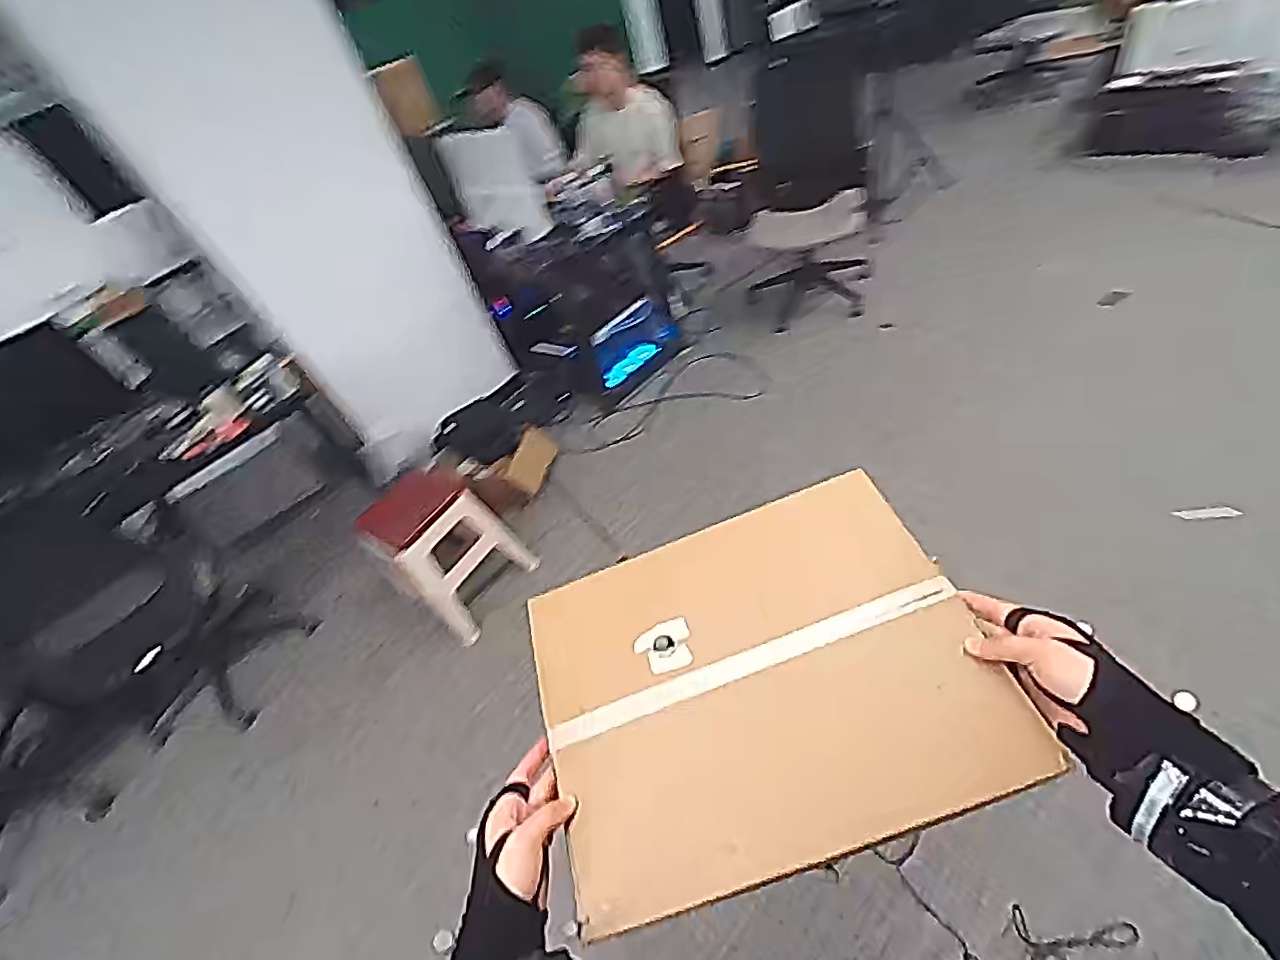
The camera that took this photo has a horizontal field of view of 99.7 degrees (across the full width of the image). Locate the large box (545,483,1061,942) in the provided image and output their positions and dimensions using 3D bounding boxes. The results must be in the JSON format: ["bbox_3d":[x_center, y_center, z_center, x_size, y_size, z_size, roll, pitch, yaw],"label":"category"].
[{"bbox_3d":[0.153,0.271,0.640,0.408,0.320,0.320,-22,51,4],"label":"large box"}]
